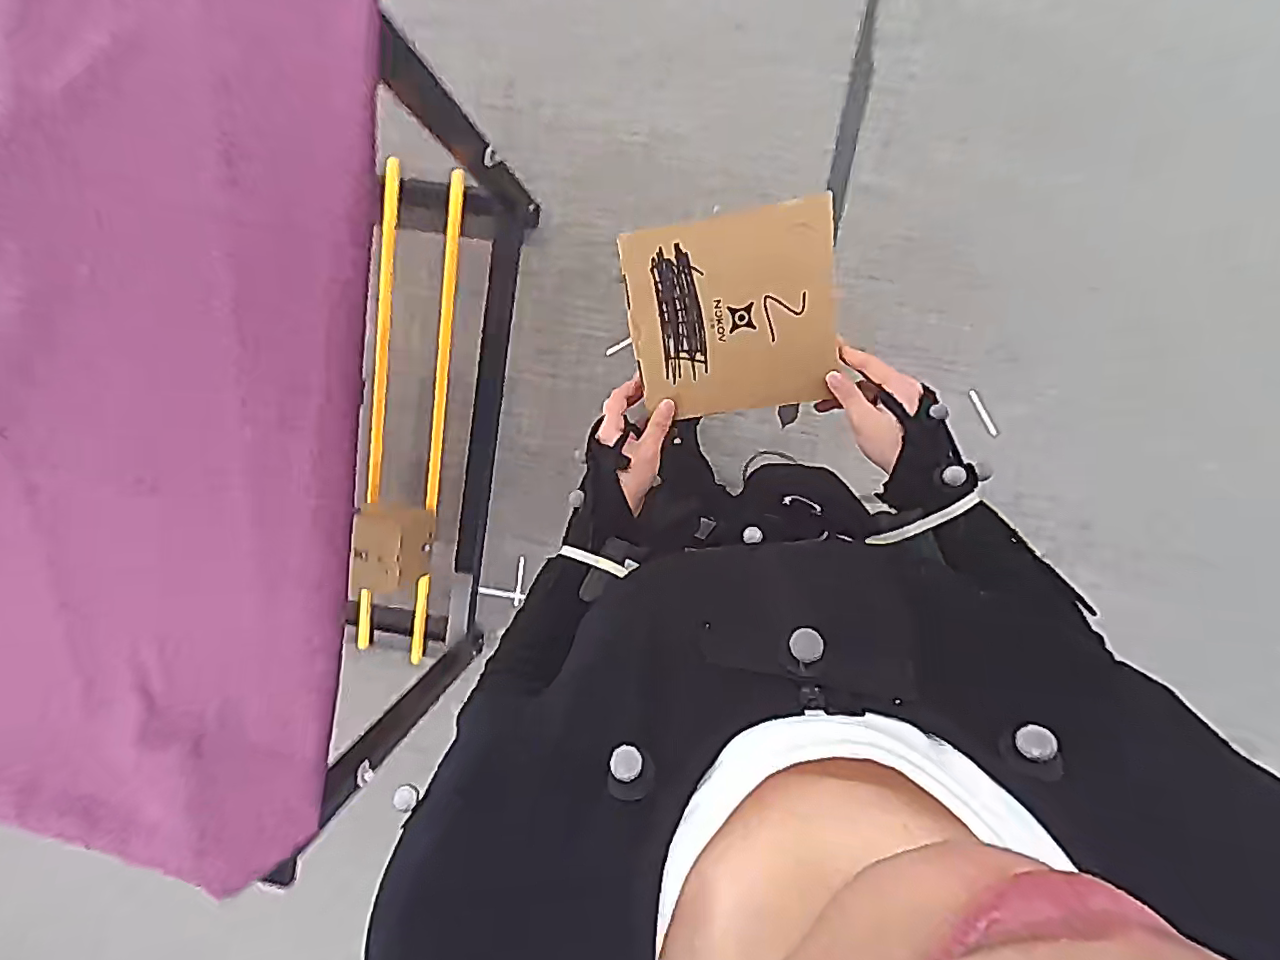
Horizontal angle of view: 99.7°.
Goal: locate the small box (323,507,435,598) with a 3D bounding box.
[{"bbox_3d":[-0.605,0.161,1.266,0.179,0.176,0.168,6,98,3],"label":"small box"}]
